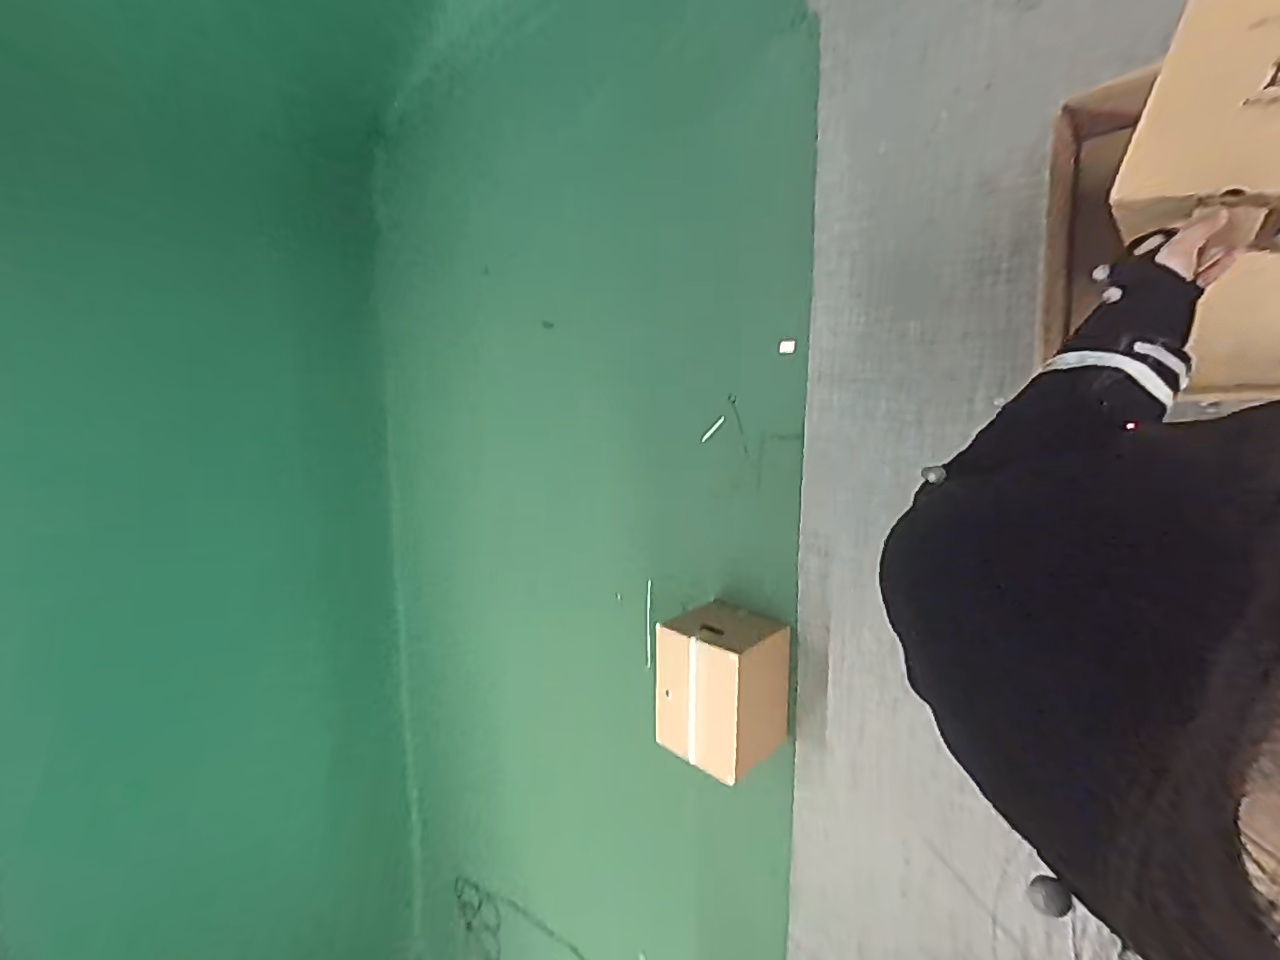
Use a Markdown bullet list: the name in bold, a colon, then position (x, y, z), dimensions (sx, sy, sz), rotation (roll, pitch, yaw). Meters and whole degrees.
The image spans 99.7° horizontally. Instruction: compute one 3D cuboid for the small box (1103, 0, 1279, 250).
- **small box**: position (0.559, -0.313, 0.477), dimensions (0.168, 0.176, 0.179), rotation (29, 112, 42)
